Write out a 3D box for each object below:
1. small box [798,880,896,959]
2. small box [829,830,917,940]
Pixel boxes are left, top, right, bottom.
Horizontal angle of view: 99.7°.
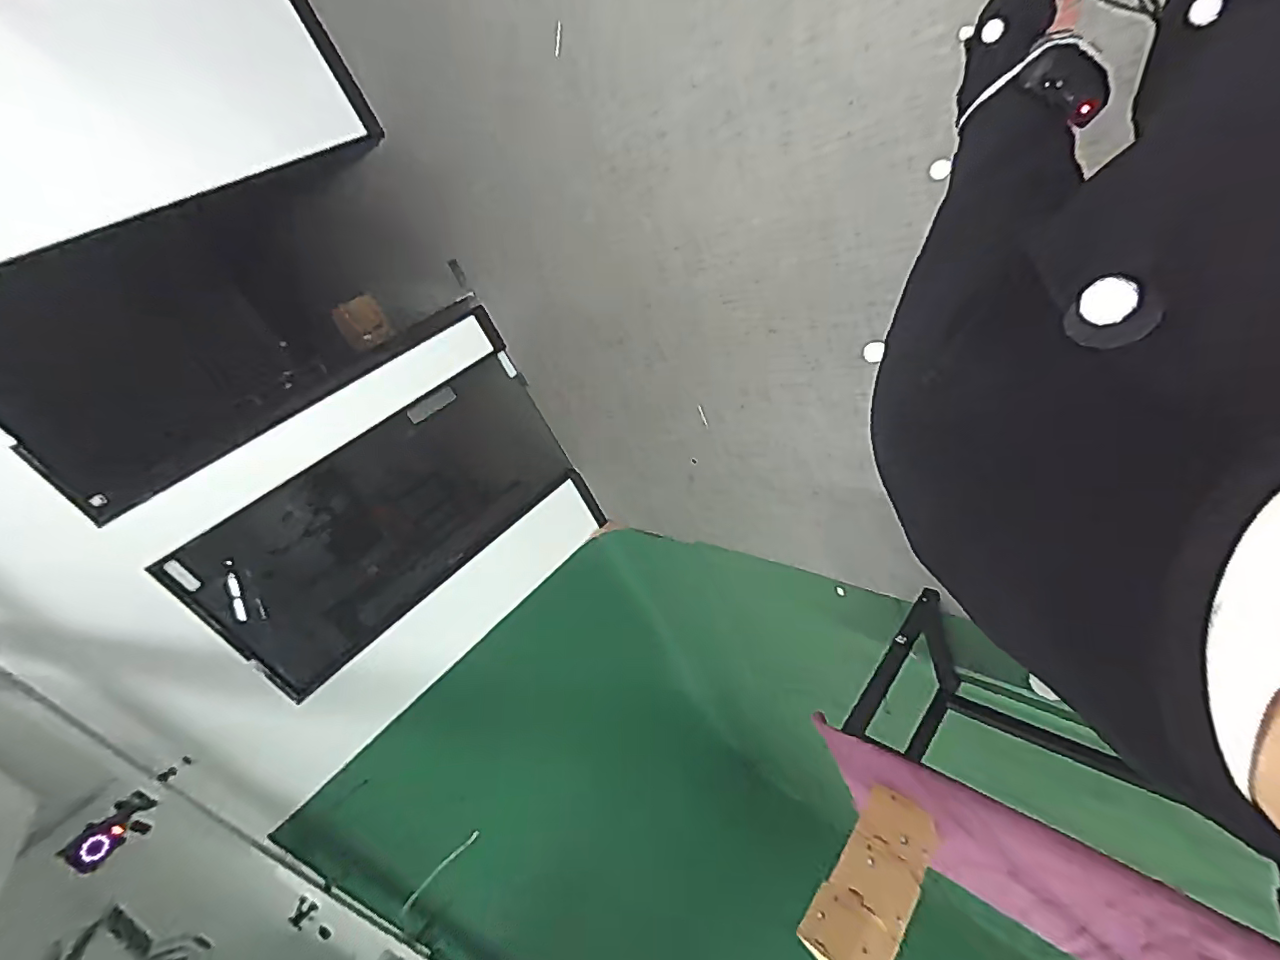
[{"bbox_3d":[0.594,1.305,1.549,0.179,0.176,0.168,54,153,-15],"label":"small box"},{"bbox_3d":[0.703,1.206,1.618,0.168,0.176,0.179,6,132,51],"label":"small box"}]
